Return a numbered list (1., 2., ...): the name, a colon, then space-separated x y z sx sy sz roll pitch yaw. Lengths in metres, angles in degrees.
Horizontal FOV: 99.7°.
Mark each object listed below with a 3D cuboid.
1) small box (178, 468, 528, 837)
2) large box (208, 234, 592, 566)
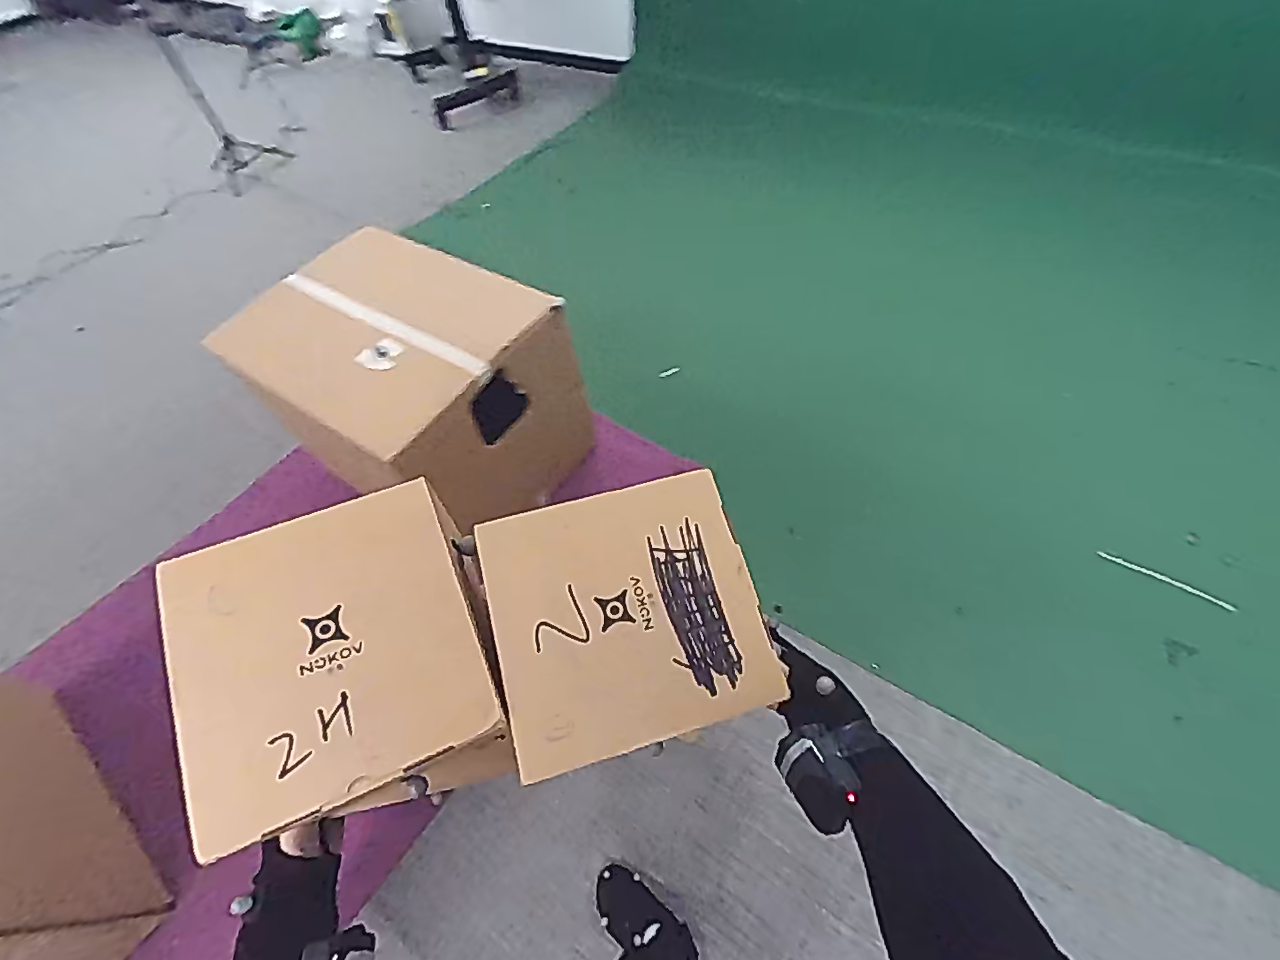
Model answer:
1. small box: -0.190 0.122 0.400 0.168 0.176 0.179 -19 70 -14
2. large box: -0.340 -0.127 0.862 0.408 0.320 0.320 27 64 21
